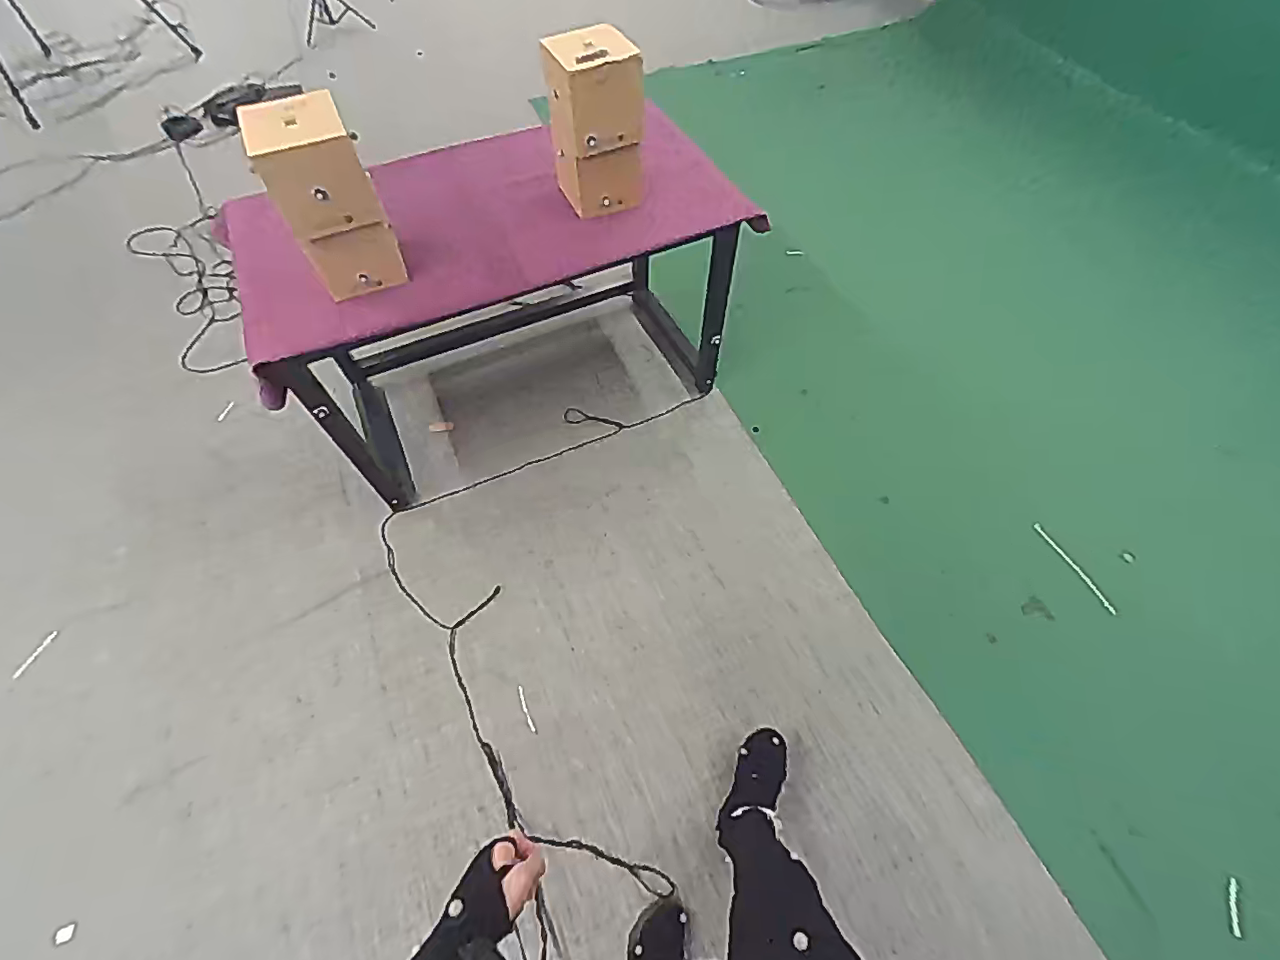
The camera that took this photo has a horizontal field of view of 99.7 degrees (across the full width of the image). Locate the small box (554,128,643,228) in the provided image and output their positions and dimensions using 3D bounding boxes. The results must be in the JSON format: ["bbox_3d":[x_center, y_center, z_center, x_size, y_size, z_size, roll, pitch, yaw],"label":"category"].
[{"bbox_3d":[-0.100,-0.761,1.337,0.168,0.176,0.179,-21,61,-10],"label":"small box"}]

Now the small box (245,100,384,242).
[{"bbox_3d":[-0.617,-0.585,1.041,0.168,0.176,0.179,-22,62,-13],"label":"small box"}]

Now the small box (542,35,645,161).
[{"bbox_3d":[-0.096,-0.830,1.188,0.168,0.176,0.179,-23,60,-11],"label":"small box"}]
